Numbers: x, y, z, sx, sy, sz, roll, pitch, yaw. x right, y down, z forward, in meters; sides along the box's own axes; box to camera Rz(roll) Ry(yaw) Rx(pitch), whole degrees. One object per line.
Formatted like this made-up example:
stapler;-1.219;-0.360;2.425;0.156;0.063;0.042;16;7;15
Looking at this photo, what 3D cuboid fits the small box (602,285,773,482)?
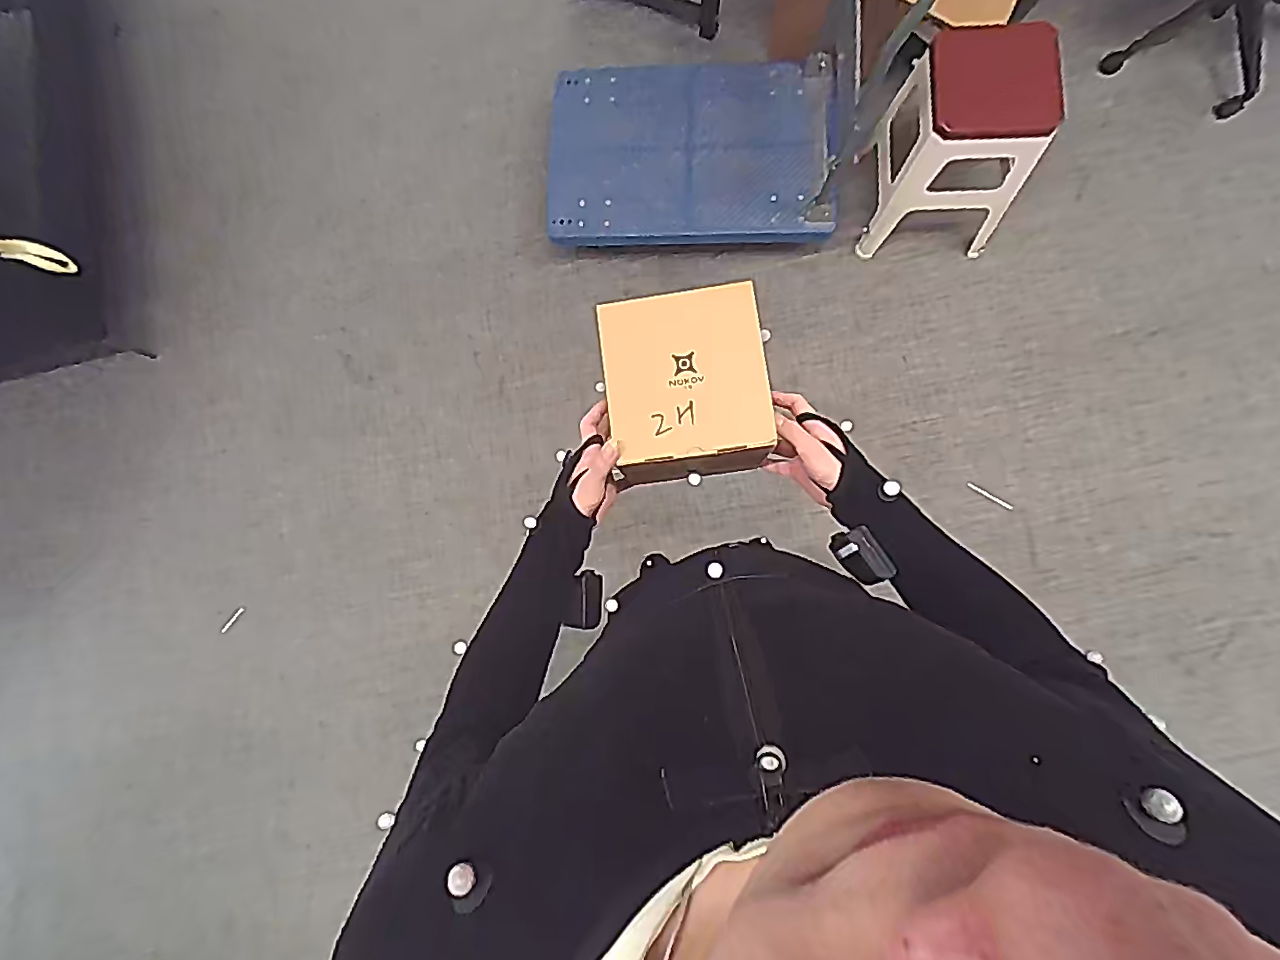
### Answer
small box;0.053;-0.101;0.639;0.168;0.176;0.179;-7;82;5
